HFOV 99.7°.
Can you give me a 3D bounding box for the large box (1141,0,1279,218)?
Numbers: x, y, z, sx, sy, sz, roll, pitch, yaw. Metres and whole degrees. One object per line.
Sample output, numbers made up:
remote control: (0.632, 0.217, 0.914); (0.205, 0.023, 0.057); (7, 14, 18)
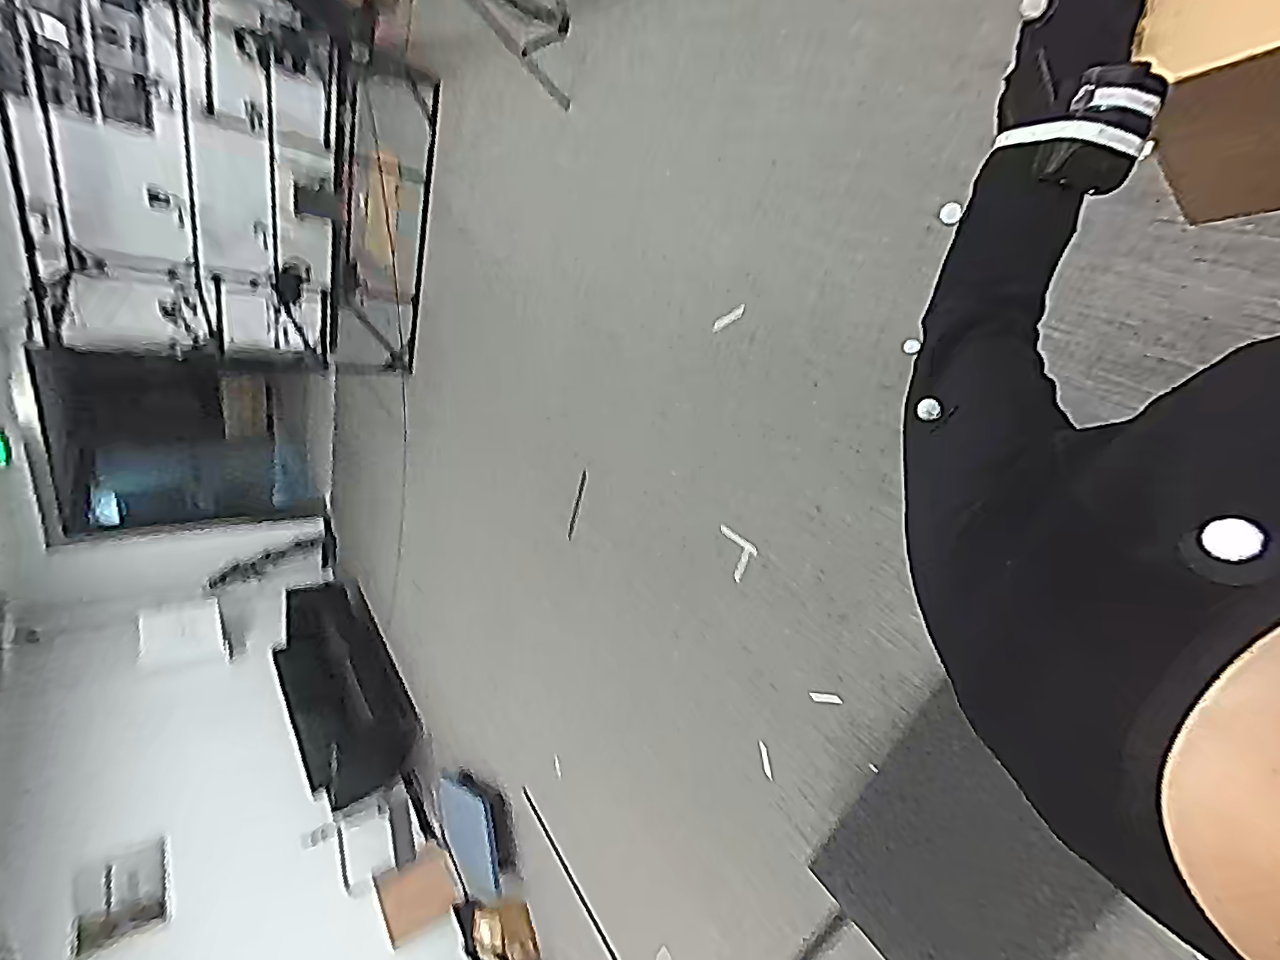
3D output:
large box: (0.582, -0.399, 0.298); (0.408, 0.320, 0.320); (8, 97, 50)
